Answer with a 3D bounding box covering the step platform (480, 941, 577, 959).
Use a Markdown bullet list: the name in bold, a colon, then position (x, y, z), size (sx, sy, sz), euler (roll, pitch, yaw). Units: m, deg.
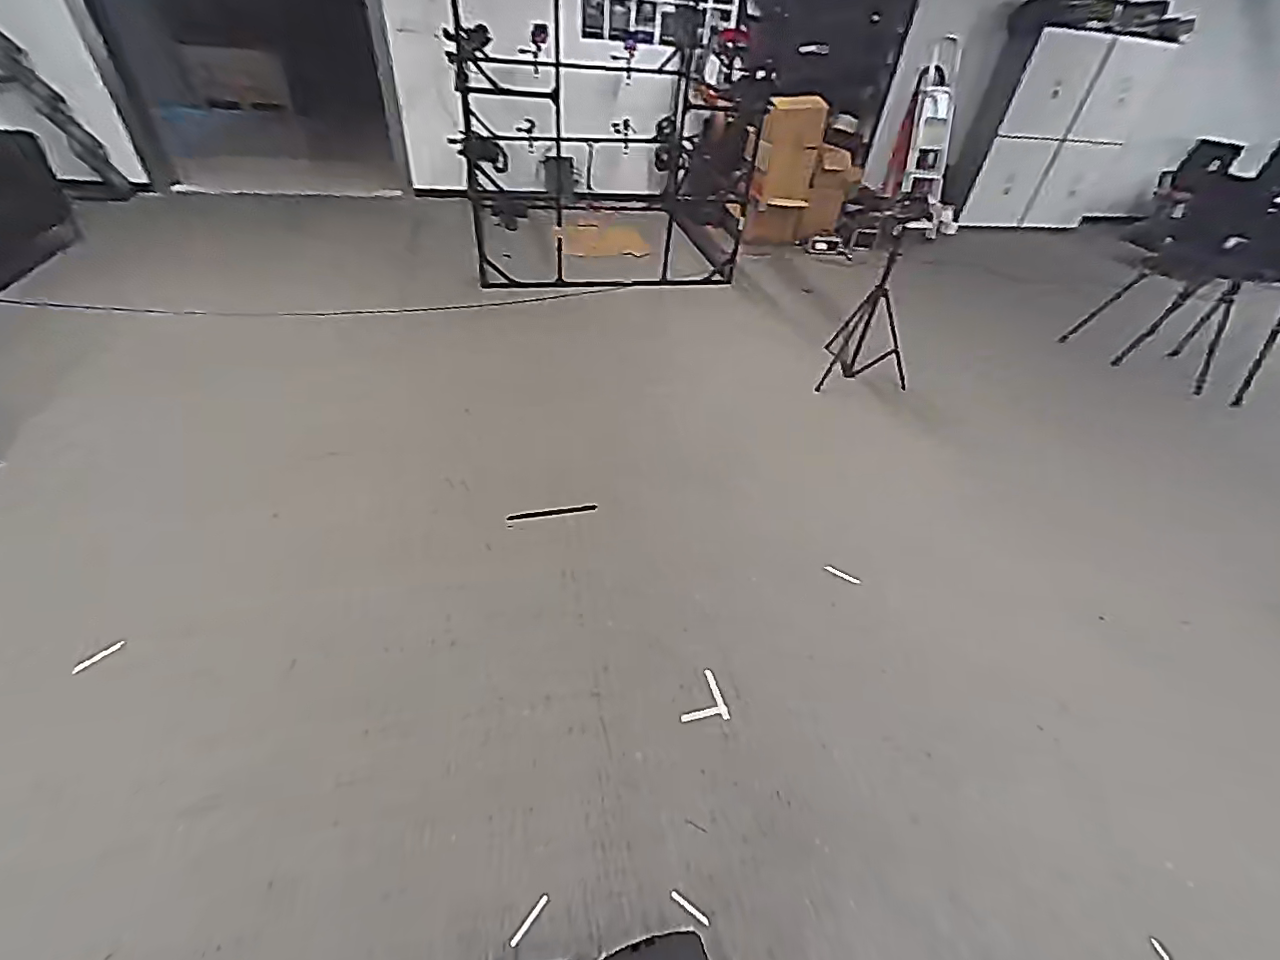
- **step platform**: position (-0.203, 1.268, 0.957), size (0.286, 0.204, 0.684), euler (-6, 42, -15)
